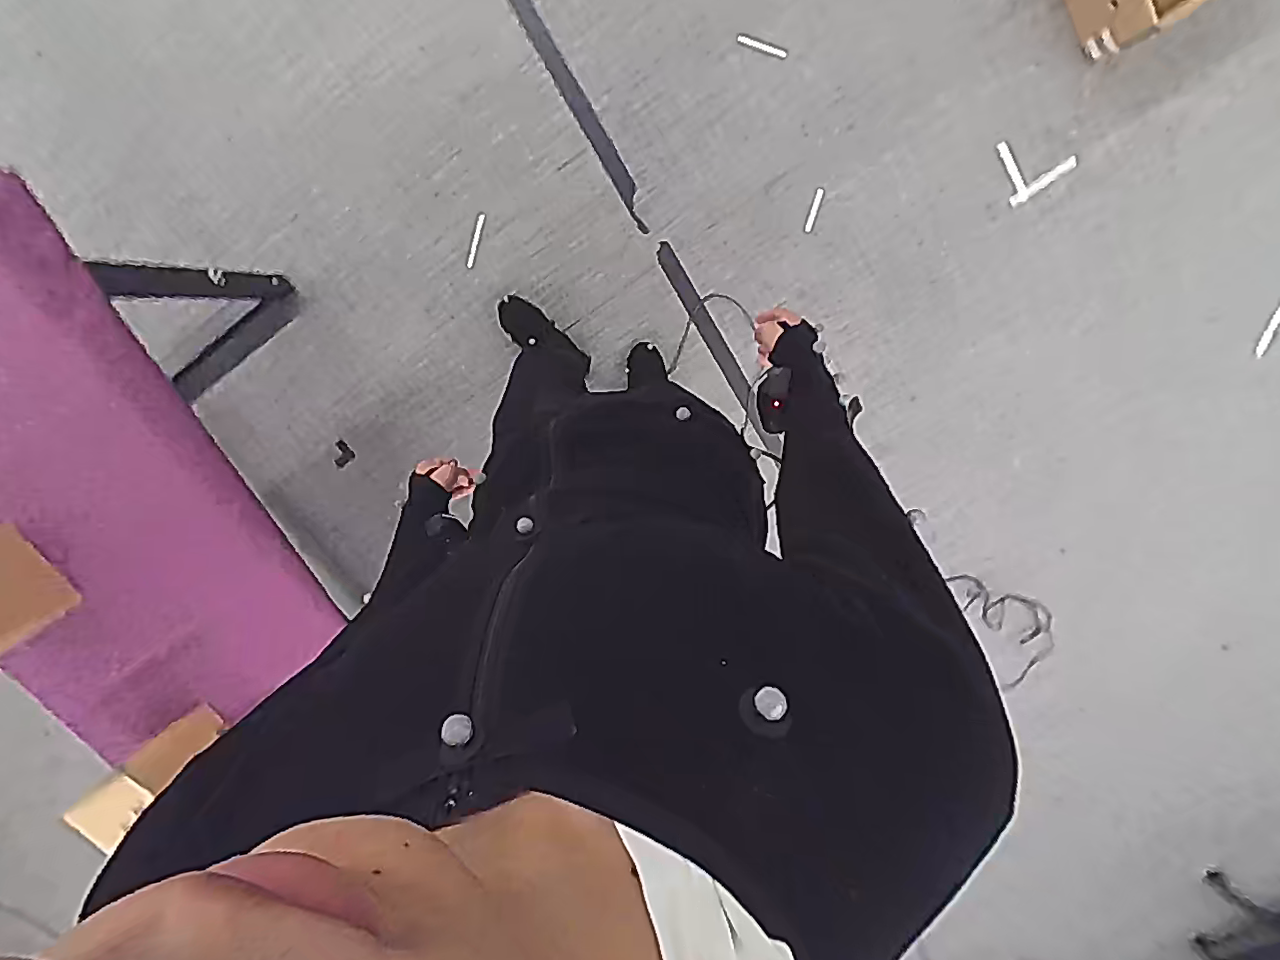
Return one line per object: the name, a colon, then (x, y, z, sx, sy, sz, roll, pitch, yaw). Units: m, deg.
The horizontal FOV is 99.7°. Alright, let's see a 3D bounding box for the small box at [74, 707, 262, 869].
small box: (-0.858, 0.563, 1.009, 0.179, 0.176, 0.168, -32, 104, 11)
